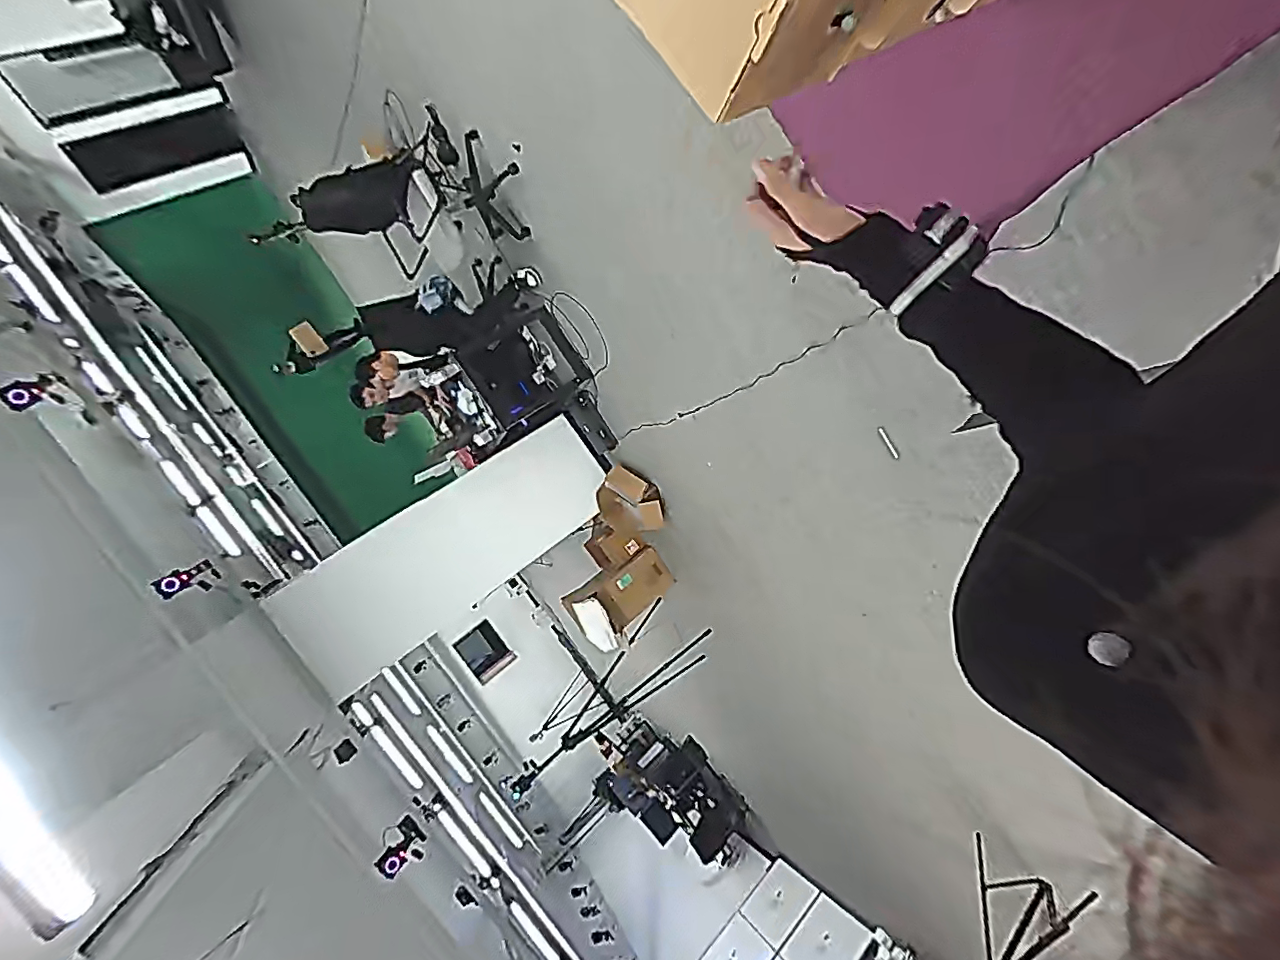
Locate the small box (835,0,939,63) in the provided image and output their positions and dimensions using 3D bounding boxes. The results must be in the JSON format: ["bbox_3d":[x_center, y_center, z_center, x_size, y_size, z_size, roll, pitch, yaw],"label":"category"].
[{"bbox_3d":[0.222,-0.529,0.474,0.179,0.176,0.168,55,157,-1],"label":"small box"}]

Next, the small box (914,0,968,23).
[{"bbox_3d":[0.344,-0.619,0.537,0.179,0.176,0.168,55,157,-5],"label":"small box"}]

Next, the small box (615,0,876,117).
[{"bbox_3d":[0.094,-0.439,0.424,0.179,0.176,0.168,52,157,2],"label":"small box"}]
